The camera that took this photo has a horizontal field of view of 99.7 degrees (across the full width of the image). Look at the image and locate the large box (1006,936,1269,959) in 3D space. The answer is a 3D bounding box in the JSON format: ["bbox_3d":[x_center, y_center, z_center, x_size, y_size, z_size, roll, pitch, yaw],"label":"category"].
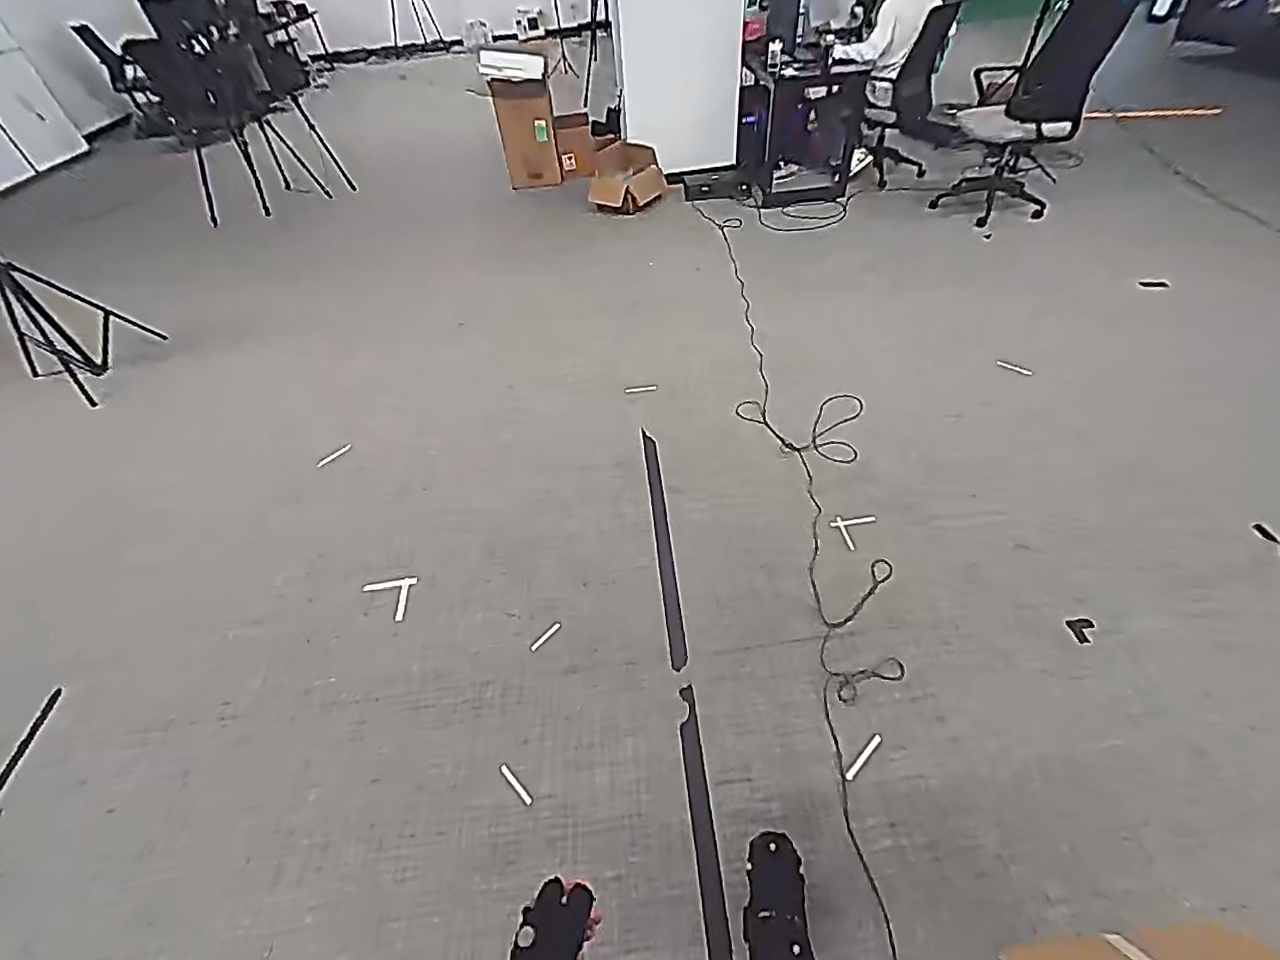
[{"bbox_3d":[0.655,0.737,0.513,0.320,0.408,0.320,-9,75,2],"label":"large box"}]
